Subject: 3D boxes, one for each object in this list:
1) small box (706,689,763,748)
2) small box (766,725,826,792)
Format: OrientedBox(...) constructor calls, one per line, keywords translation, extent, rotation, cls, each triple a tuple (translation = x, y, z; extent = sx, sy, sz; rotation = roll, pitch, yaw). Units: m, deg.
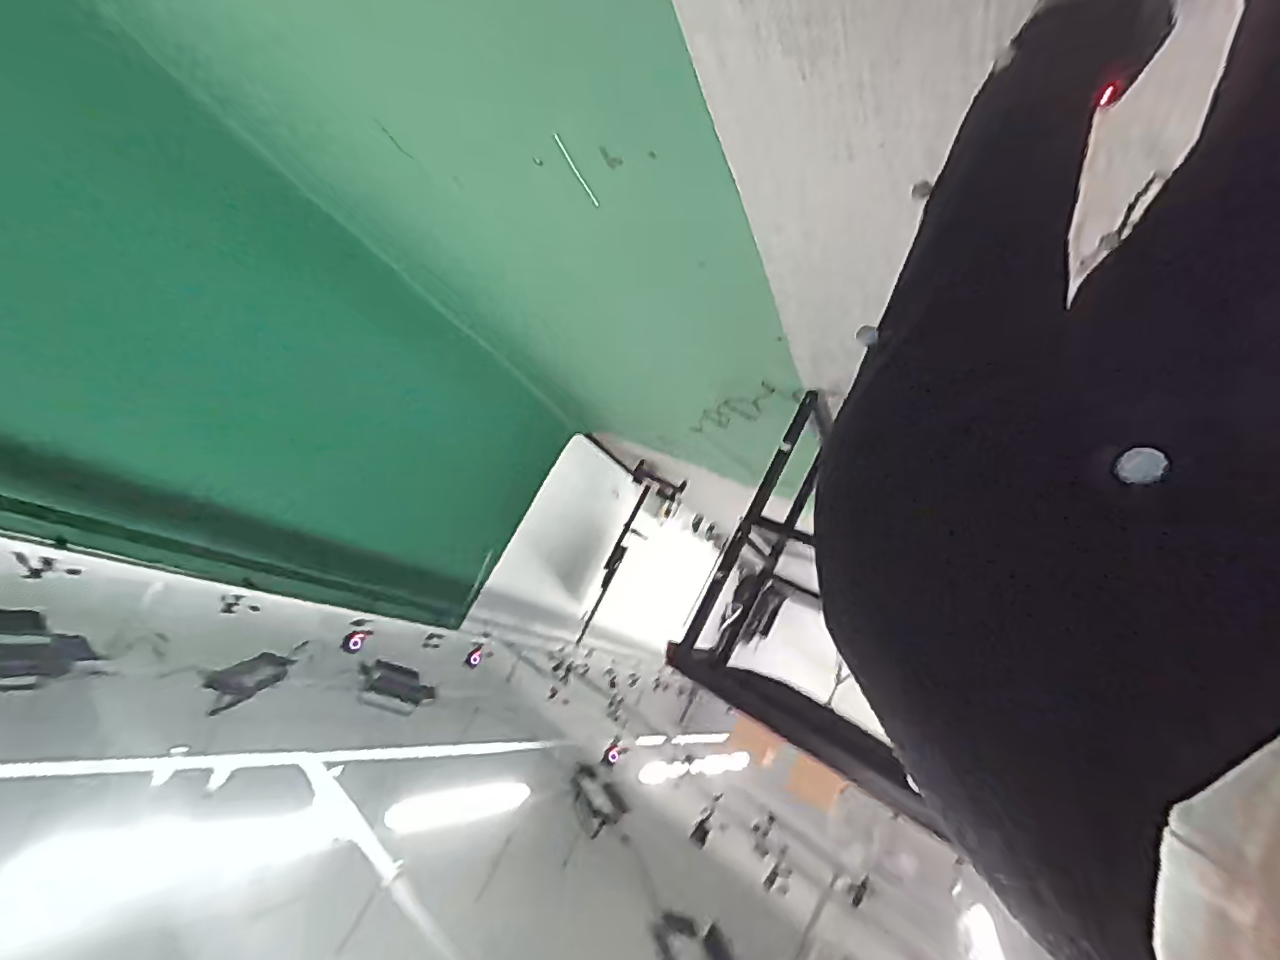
OrientedBox(translation=(0.416, 1.022, 2.329), extent=(0.179, 0.176, 0.168), rotation=(23, 171, 32), cls="small box")
OrientedBox(translation=(0.634, 1.120, 2.191), extent=(0.179, 0.176, 0.168), rotation=(23, 172, 28), cls="small box")
